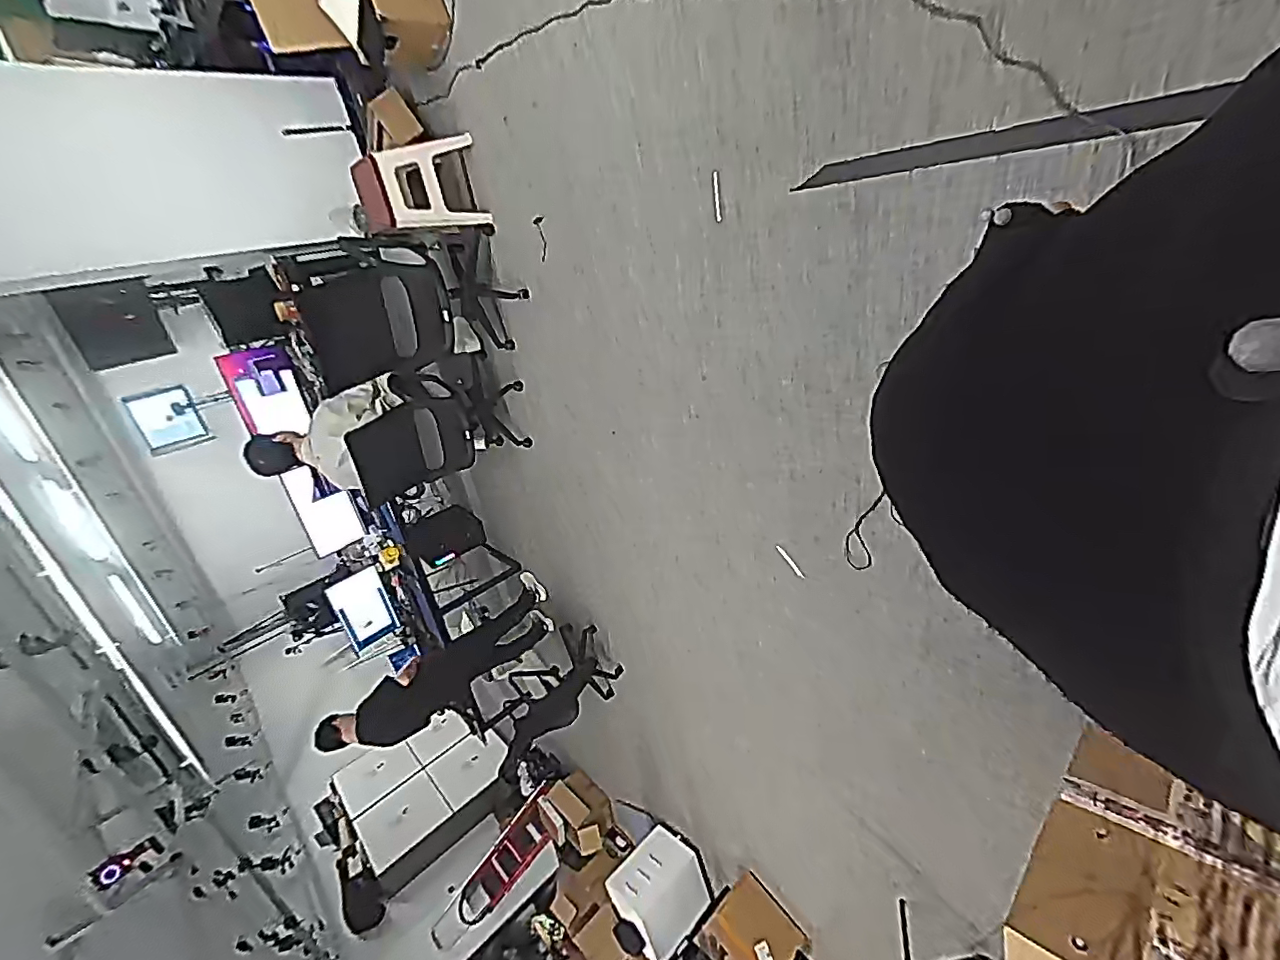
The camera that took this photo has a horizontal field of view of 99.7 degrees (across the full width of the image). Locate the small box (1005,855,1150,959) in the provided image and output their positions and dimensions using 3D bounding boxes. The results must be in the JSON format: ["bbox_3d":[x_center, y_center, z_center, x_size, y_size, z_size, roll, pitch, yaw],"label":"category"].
[{"bbox_3d":[0.778,0.827,0.963,0.179,0.176,0.168,8,115,50],"label":"small box"}]

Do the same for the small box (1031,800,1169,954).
[{"bbox_3d":[0.900,0.776,1.063,0.179,0.176,0.168,8,115,50],"label":"small box"}]
